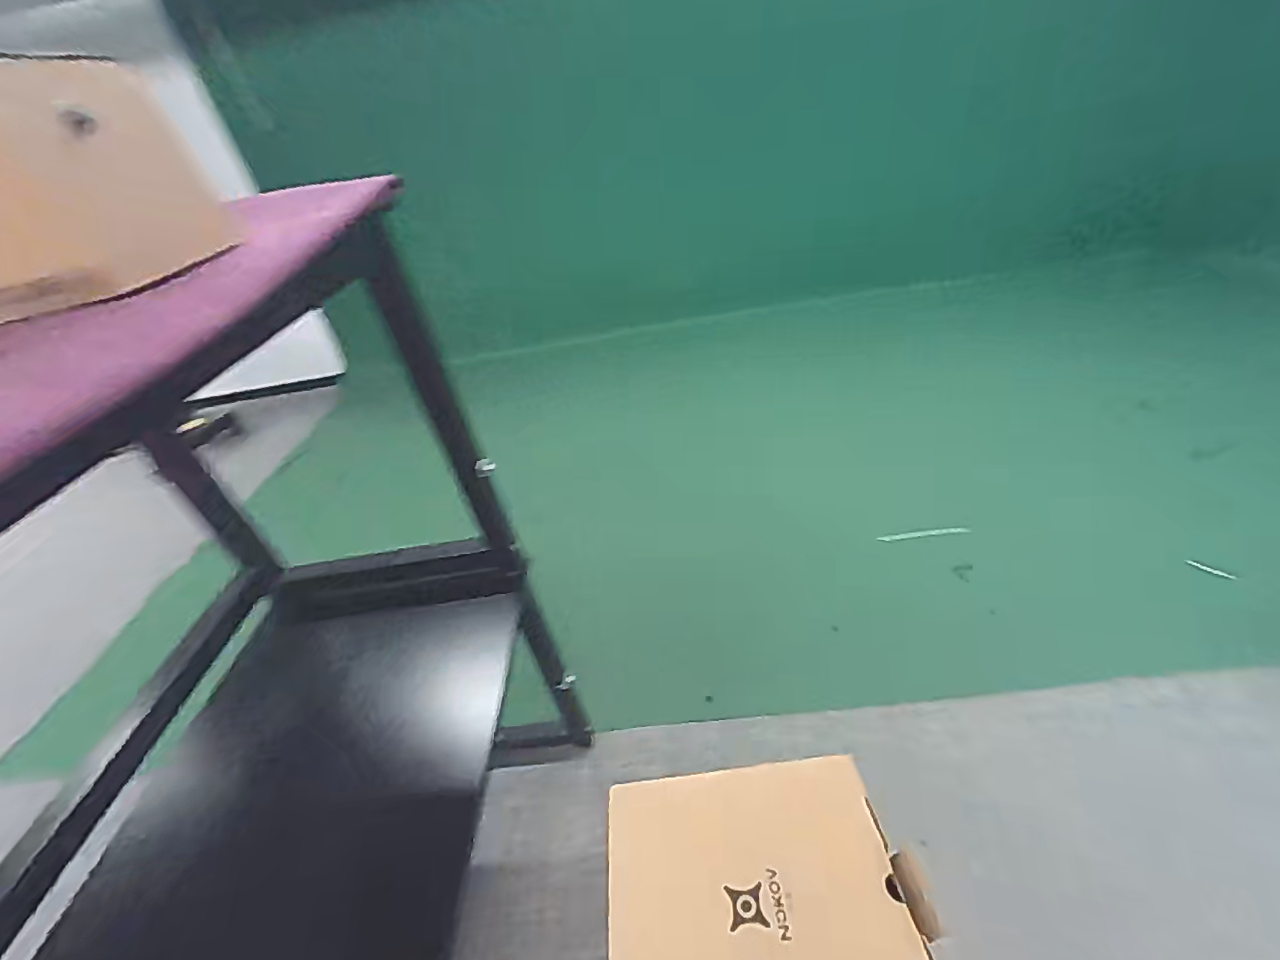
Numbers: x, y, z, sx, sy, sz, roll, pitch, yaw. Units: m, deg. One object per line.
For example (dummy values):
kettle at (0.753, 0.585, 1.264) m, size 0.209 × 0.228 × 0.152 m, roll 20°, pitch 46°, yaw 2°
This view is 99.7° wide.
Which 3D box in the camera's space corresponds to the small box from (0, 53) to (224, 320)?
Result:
small box at (-0.536, -0.255, 0.485) m, size 0.168 × 0.176 × 0.179 m, roll -9°, pitch 37°, yaw 7°
